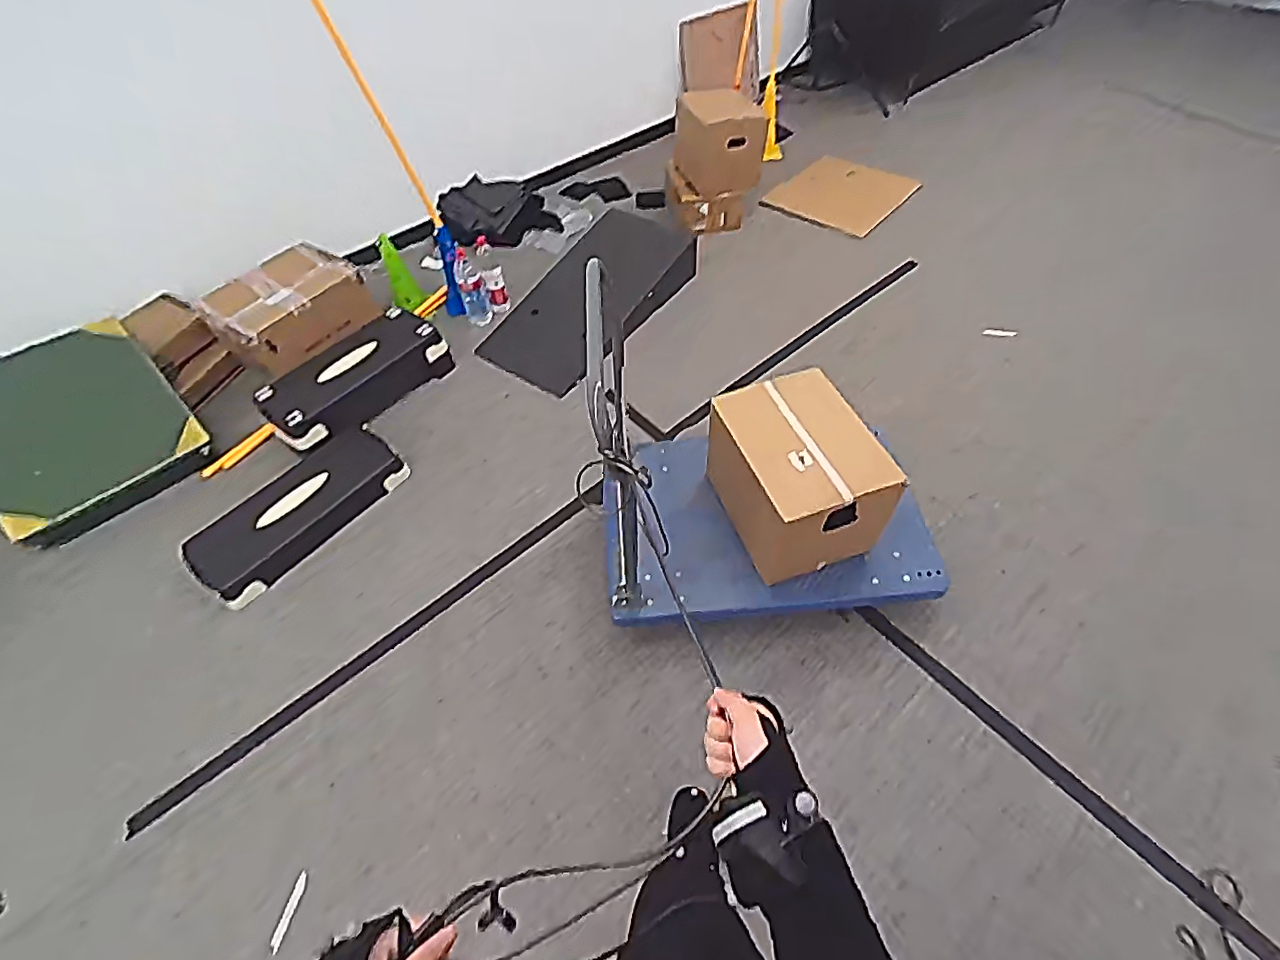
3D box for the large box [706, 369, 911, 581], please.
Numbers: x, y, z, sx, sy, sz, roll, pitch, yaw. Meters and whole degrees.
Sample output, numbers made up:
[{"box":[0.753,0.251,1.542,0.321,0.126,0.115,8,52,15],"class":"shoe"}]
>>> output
[{"box":[0.395,-0.015,1.398,0.320,0.320,0.408,-18,56,-8],"class":"large box"}]
